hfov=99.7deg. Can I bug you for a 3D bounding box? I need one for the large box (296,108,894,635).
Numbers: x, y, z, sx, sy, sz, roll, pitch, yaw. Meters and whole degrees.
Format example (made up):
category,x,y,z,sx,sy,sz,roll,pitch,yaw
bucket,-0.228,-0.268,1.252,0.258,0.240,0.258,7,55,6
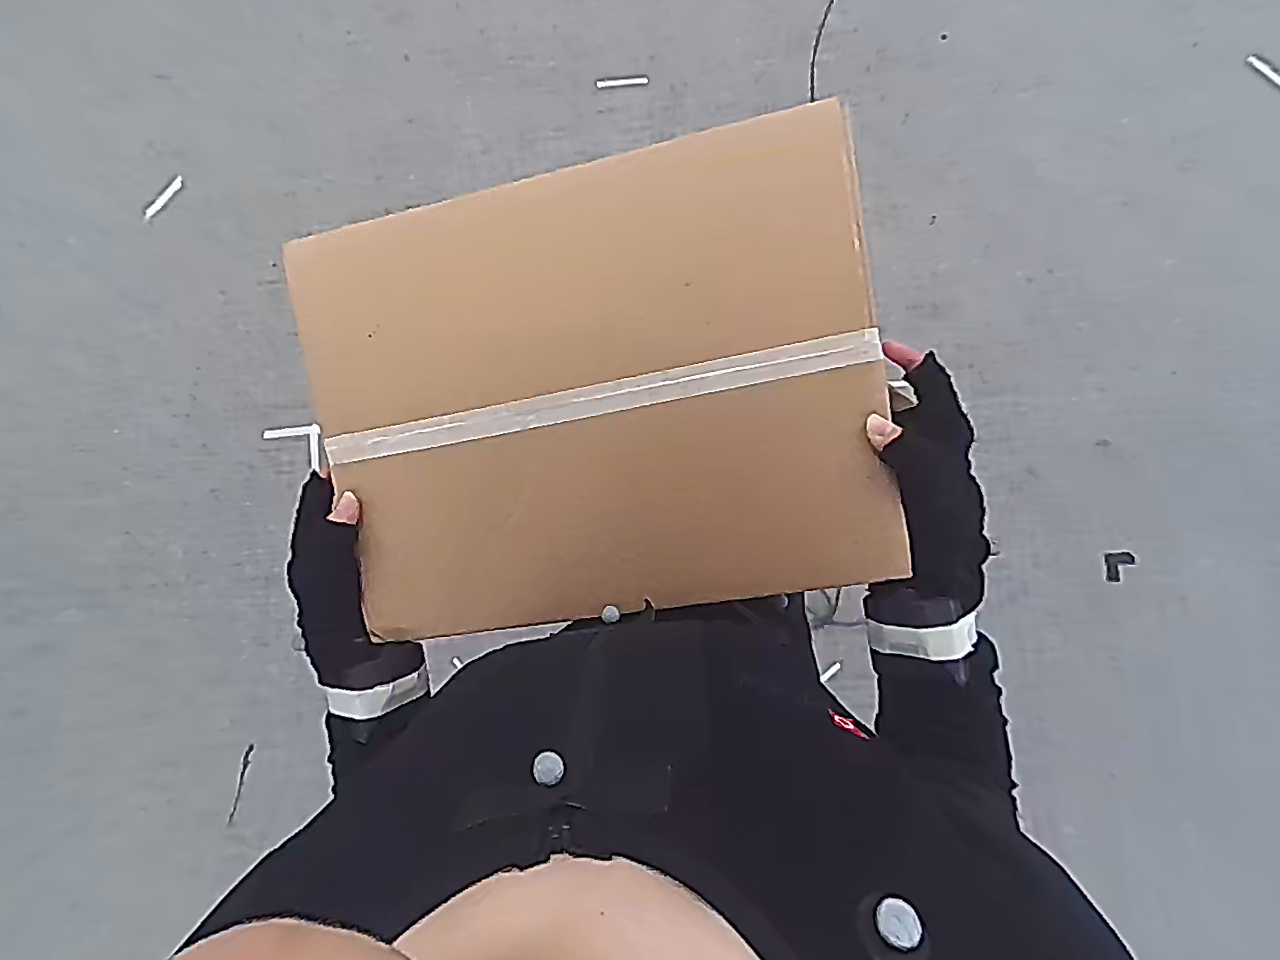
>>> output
category,x,y,z,sx,sy,sz,roll,pitch,yaw
large box,-0.021,-0.075,0.537,0.408,0.320,0.320,-9,94,10
